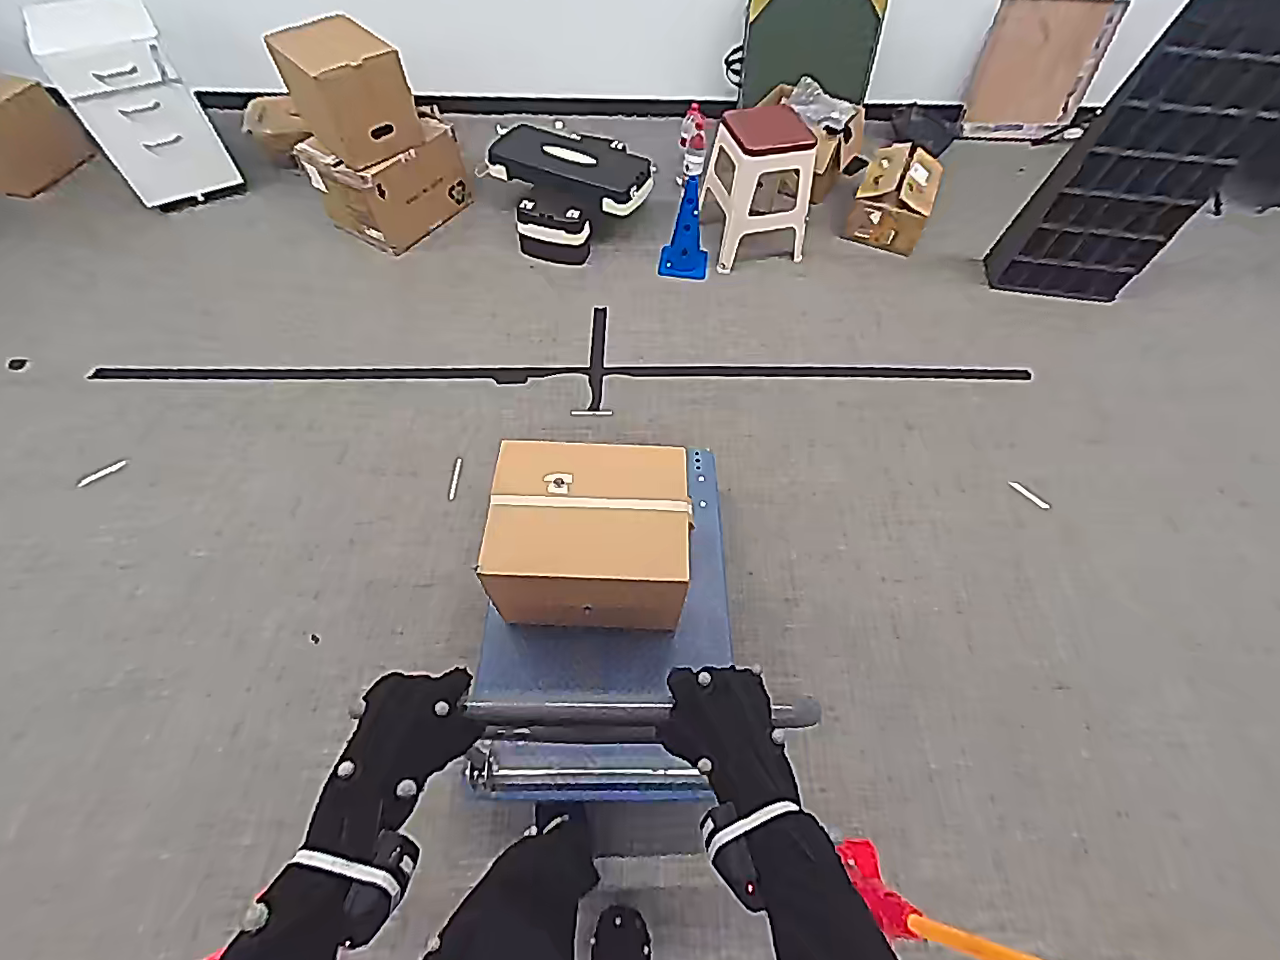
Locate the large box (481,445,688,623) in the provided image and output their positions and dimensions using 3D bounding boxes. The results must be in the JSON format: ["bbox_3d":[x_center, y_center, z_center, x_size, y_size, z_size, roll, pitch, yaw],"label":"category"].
[{"bbox_3d":[-0.104,0.133,1.235,0.408,0.320,0.320,2,58,0],"label":"large box"}]

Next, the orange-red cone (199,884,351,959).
[{"bbox_3d":[-0.699,0.848,0.940,0.198,0.360,0.199,7,56,2],"label":"orange-red cone"}]
